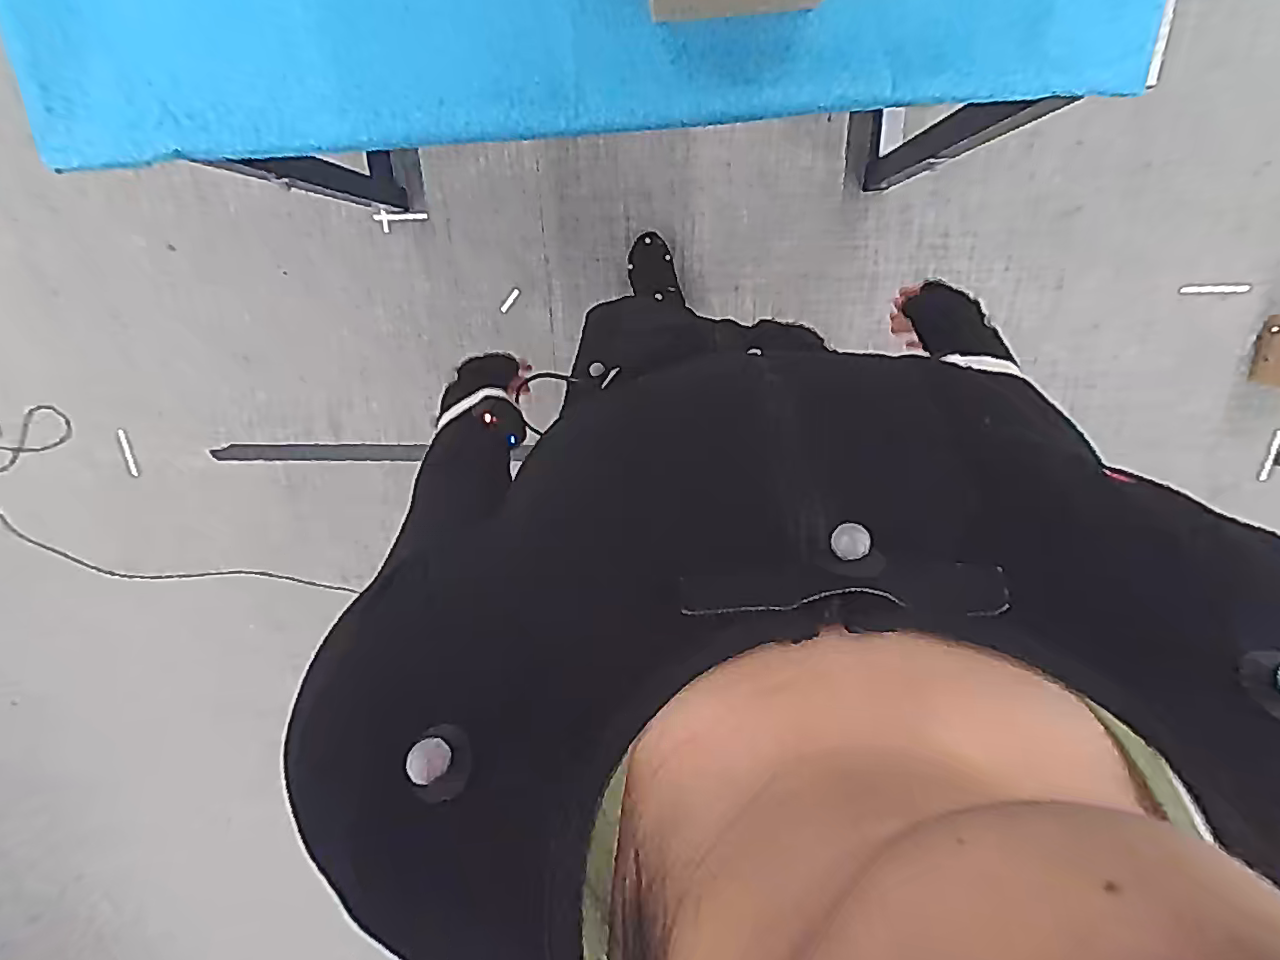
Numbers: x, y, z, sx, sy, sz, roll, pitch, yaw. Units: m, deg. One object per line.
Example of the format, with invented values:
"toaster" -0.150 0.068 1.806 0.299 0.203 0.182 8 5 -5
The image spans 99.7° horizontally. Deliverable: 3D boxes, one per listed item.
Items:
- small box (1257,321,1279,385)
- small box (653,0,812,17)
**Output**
"small box" 1.590 -0.294 1.226 0.179 0.176 0.168 -2 110 3
"small box" 0.091 -0.532 0.461 0.179 0.176 0.168 -1 111 4
